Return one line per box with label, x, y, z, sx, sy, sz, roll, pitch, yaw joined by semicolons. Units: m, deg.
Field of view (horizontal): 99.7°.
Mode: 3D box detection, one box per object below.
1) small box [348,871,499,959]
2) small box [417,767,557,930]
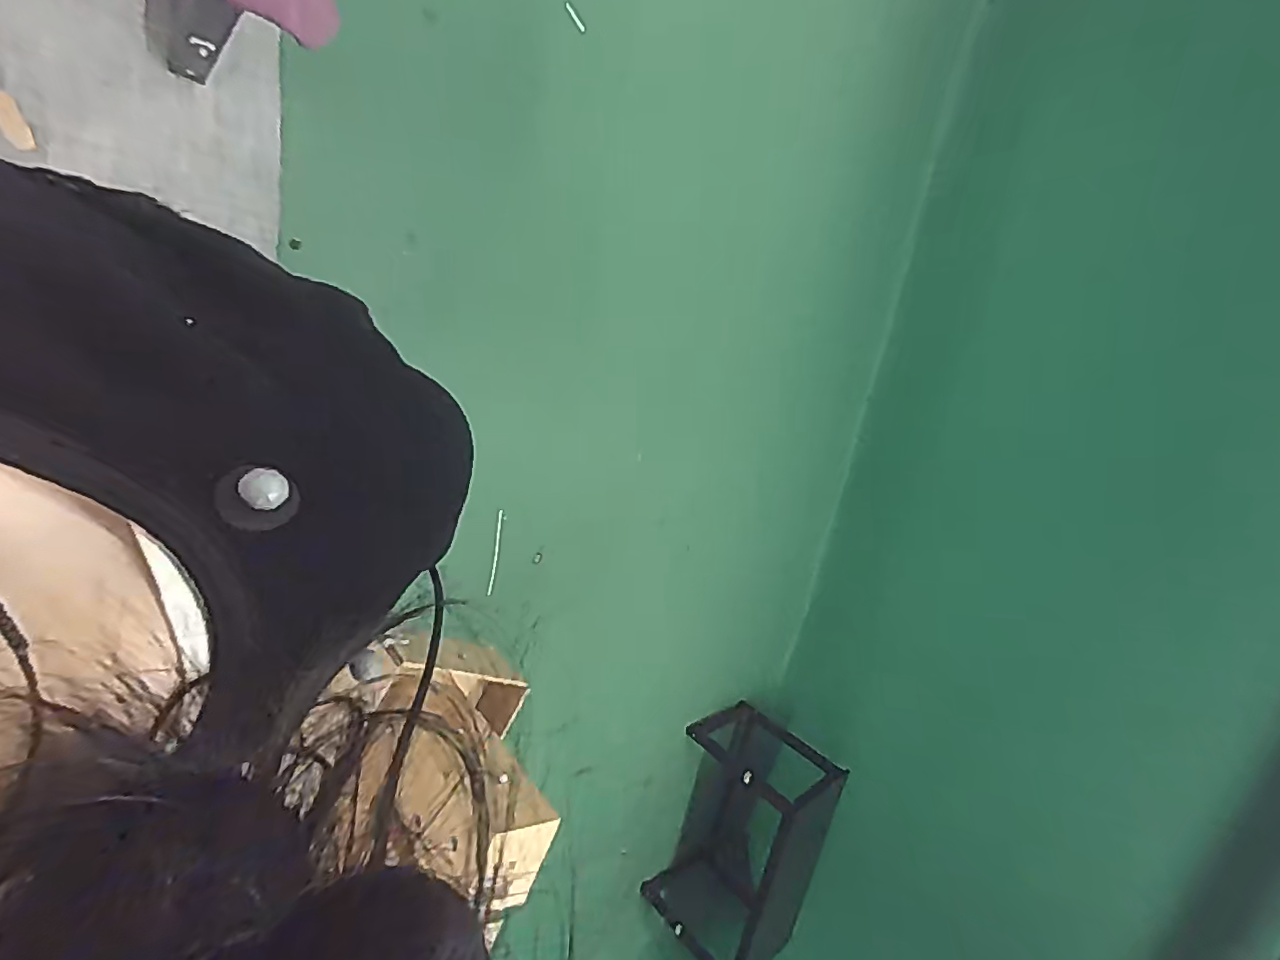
small box;-0.402;0.855;0.996;0.168;0.176;0.179;36;78;-46
small box;-0.294;0.679;1.021;0.168;0.176;0.179;26;88;-48
